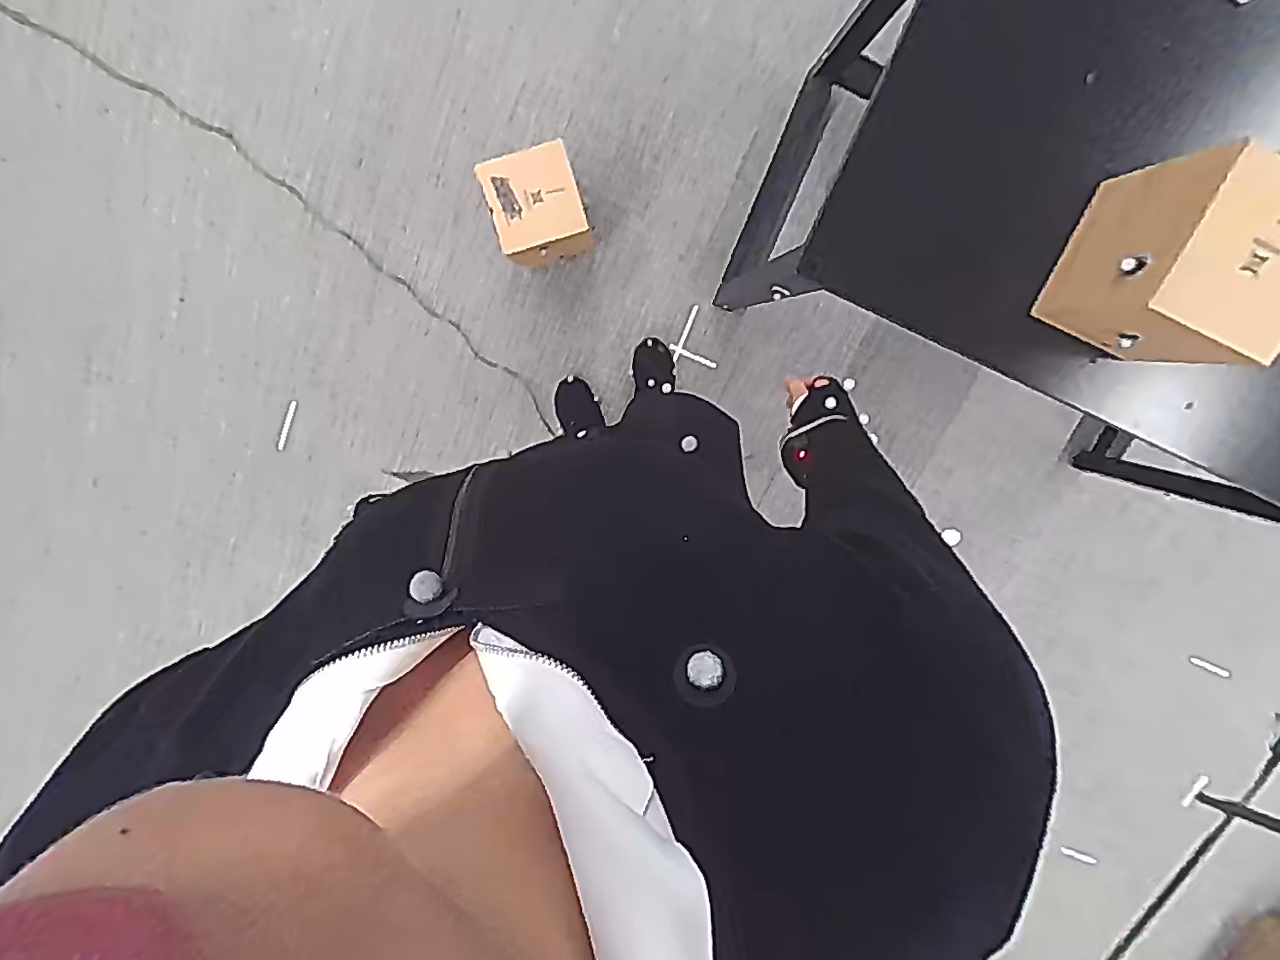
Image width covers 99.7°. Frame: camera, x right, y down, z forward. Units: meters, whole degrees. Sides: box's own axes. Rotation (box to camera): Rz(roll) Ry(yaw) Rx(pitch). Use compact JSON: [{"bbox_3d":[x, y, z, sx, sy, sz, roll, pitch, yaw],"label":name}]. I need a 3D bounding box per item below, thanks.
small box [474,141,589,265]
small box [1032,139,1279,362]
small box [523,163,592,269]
[{"bbox_3d":[-0.212,-0.555,1.109,0.179,0.176,0.168,-17,105,1],"label":"small box"},{"bbox_3d":[0.624,-0.255,0.646,0.168,0.176,0.179,21,102,-8],"label":"small box"},{"bbox_3d":[-0.220,-0.609,1.266,0.179,0.176,0.168,-18,104,1],"label":"small box"}]
